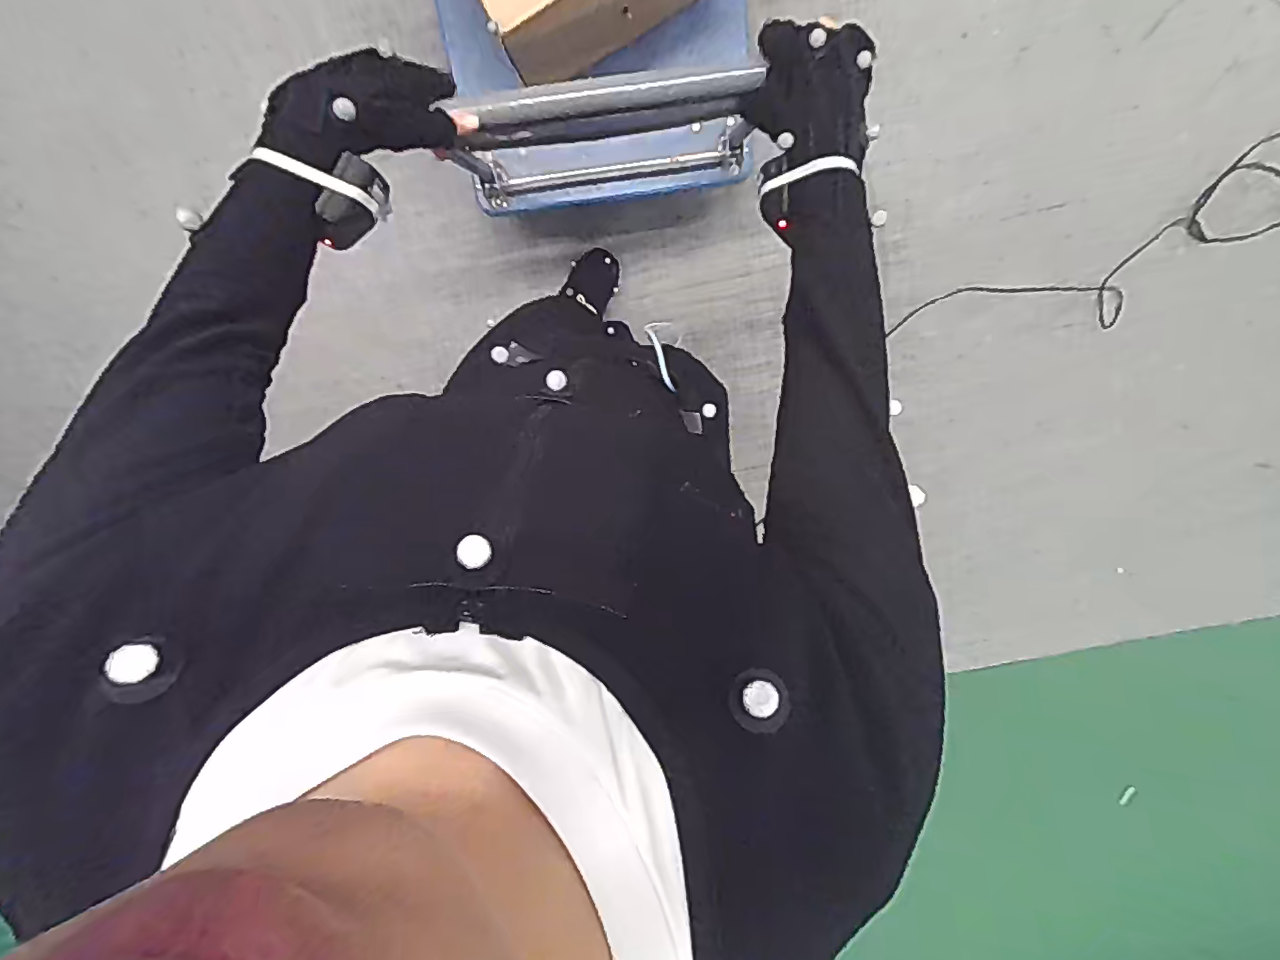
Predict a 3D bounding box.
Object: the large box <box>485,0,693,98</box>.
[{"bbox_3d":[-0.090,-0.903,0.845,0.408,0.320,0.320,-27,108,10],"label":"large box"}]
